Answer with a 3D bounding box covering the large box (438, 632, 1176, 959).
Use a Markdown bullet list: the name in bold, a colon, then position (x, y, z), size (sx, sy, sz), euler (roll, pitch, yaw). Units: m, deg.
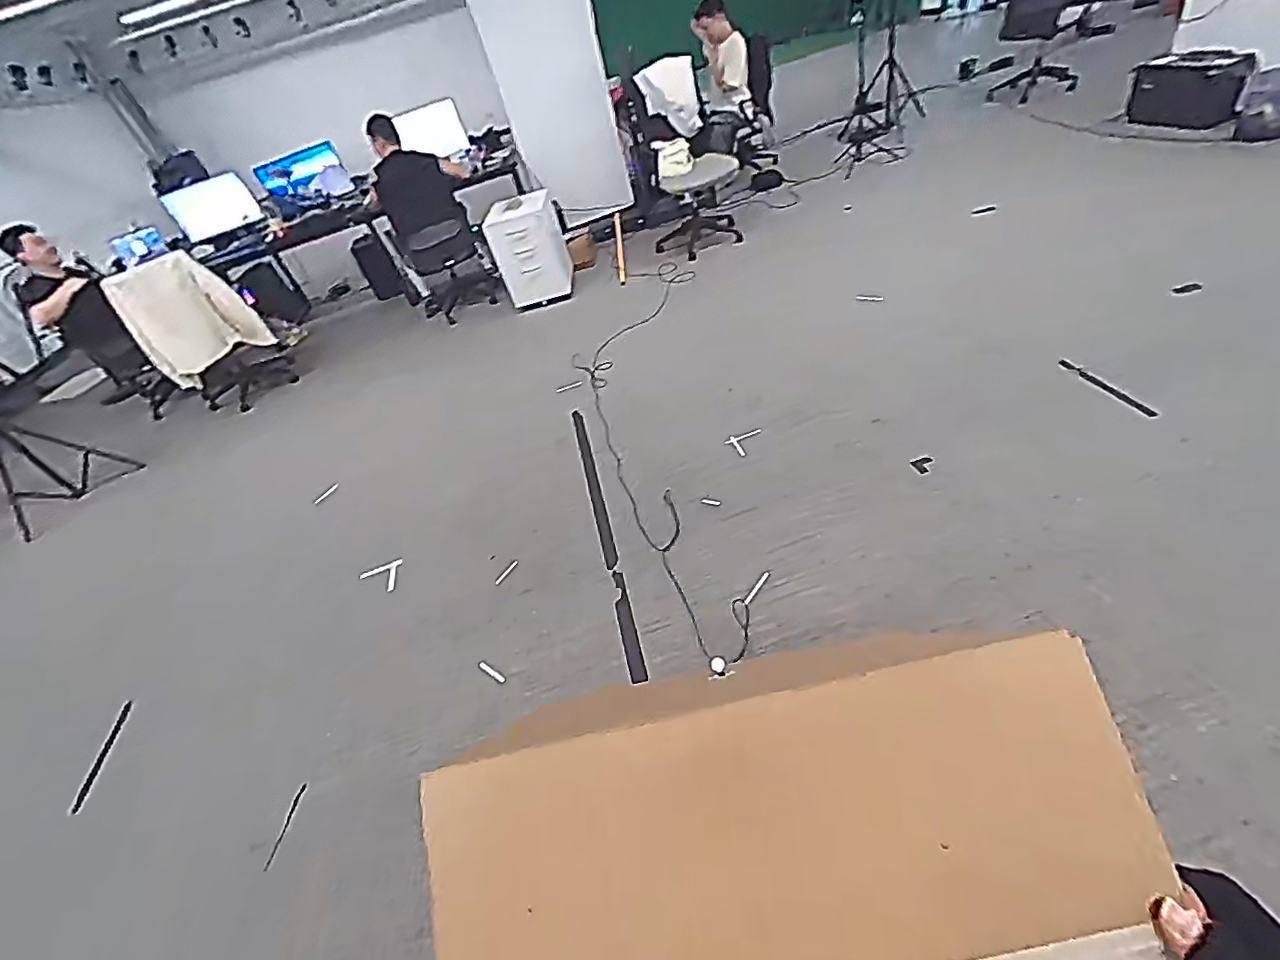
- **large box**: position (0.109, 0.327, 0.444), size (0.408, 0.320, 0.320), euler (-13, 74, 1)
